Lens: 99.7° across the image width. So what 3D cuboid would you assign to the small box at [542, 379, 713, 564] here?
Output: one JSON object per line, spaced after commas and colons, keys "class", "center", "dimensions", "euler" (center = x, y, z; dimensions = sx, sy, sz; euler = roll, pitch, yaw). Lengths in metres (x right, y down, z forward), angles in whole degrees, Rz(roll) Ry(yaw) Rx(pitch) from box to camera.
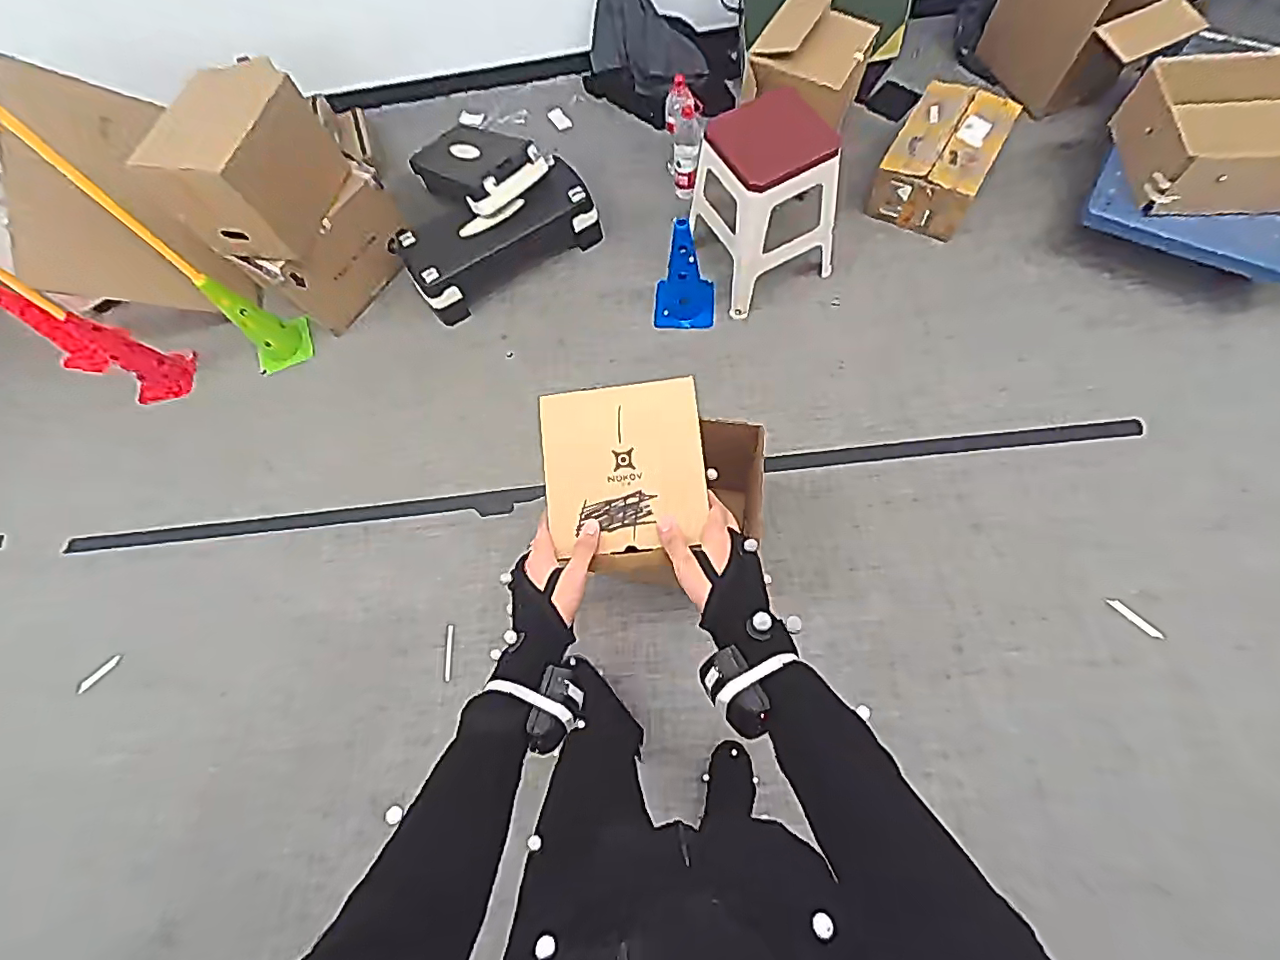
{"class": "small box", "center": [-0.006, 0.000, 0.620], "dimensions": [0.168, 0.176, 0.179], "euler": [-6, 81, 4]}
